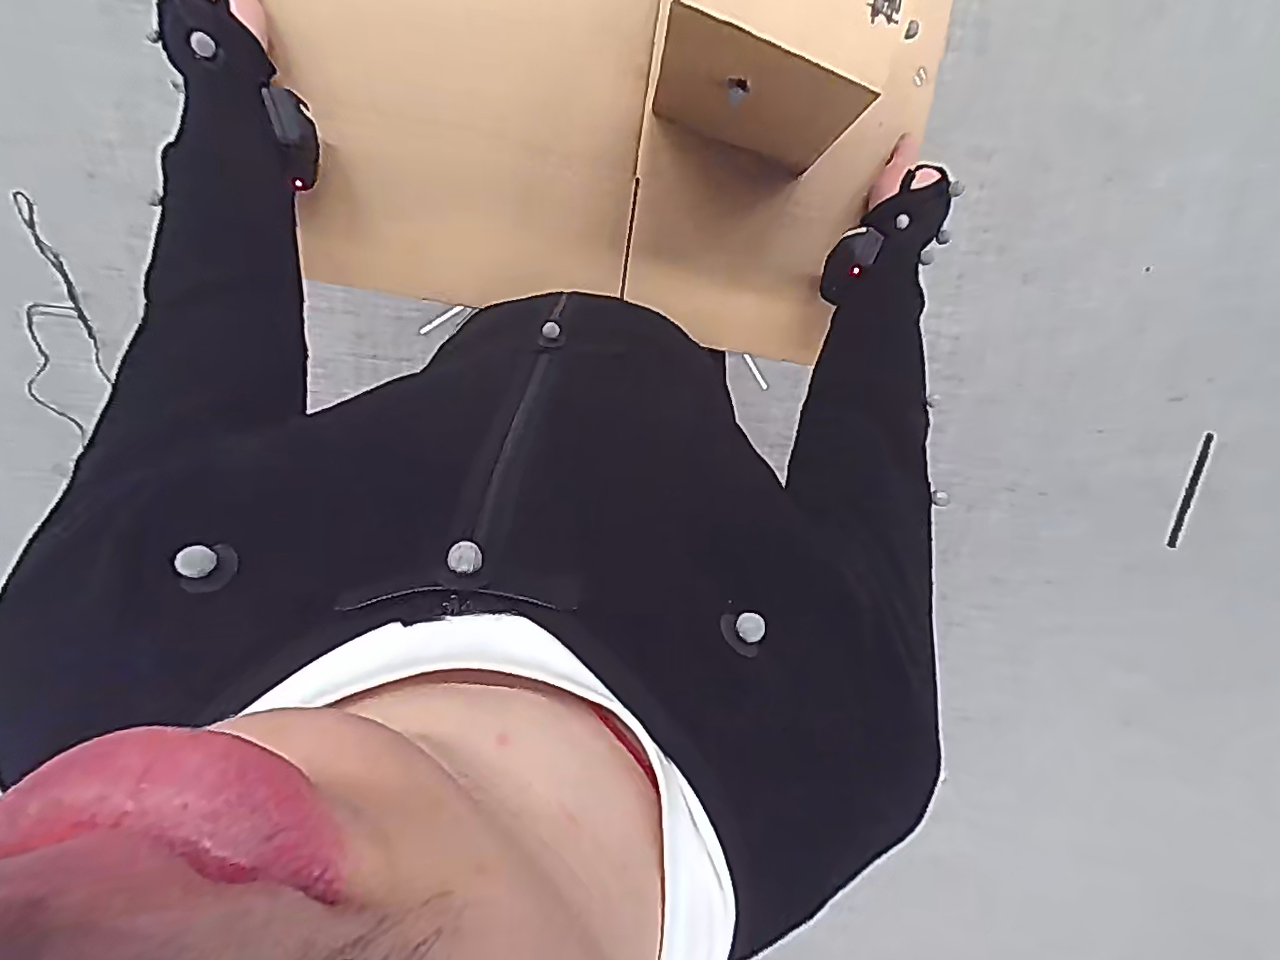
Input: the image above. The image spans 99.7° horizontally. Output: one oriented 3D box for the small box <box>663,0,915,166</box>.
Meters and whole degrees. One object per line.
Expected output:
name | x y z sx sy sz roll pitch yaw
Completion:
small box | 0.128 -0.416 0.481 0.179 0.176 0.168 18 99 -6
